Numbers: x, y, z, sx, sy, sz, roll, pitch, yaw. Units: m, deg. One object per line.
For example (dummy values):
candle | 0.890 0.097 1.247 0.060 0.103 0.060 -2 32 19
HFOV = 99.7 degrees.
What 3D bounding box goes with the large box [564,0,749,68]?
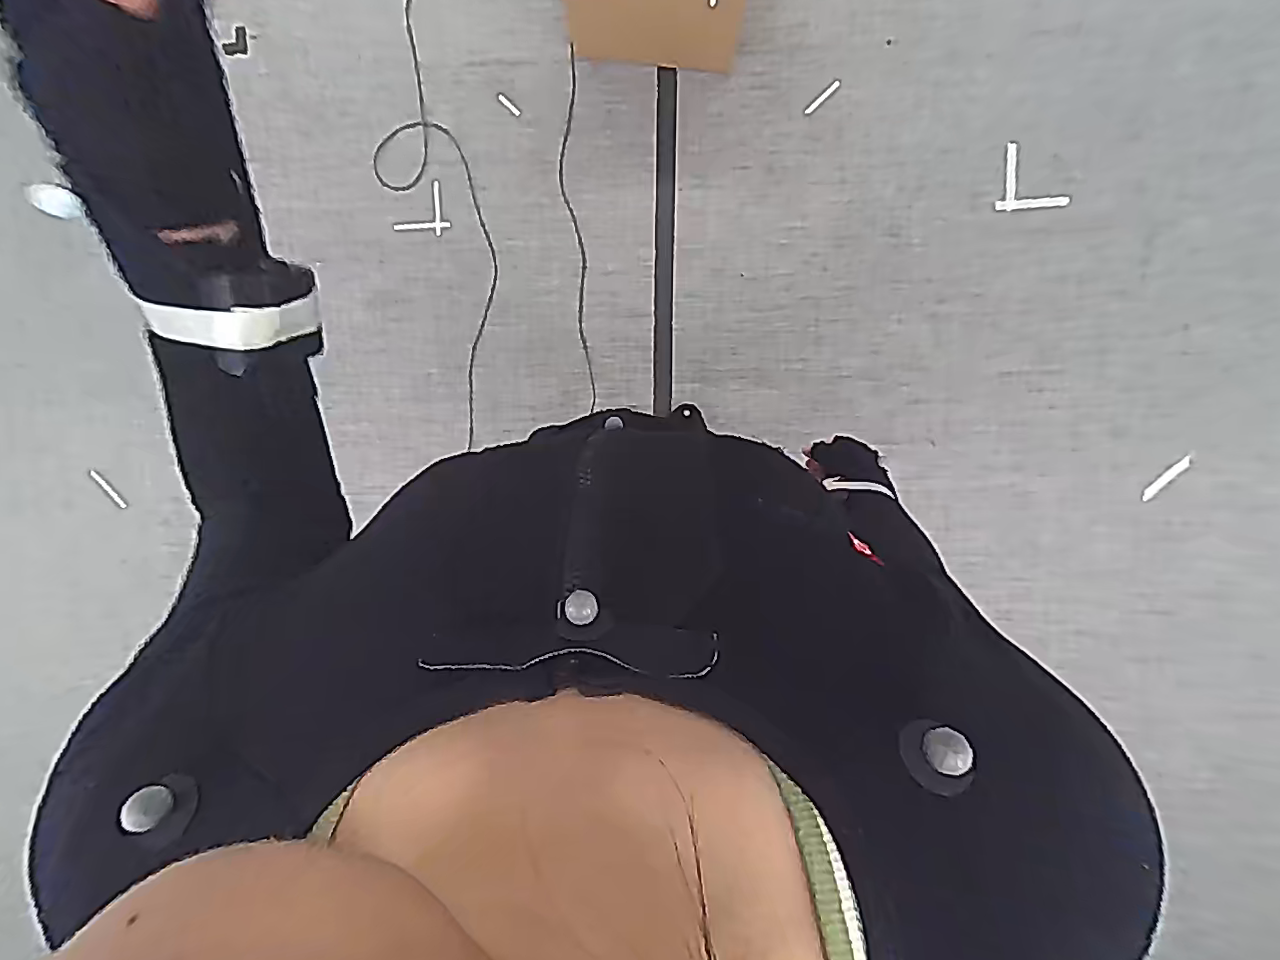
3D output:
large box | 0.048 -1.183 1.196 0.408 0.320 0.320 7 97 1
